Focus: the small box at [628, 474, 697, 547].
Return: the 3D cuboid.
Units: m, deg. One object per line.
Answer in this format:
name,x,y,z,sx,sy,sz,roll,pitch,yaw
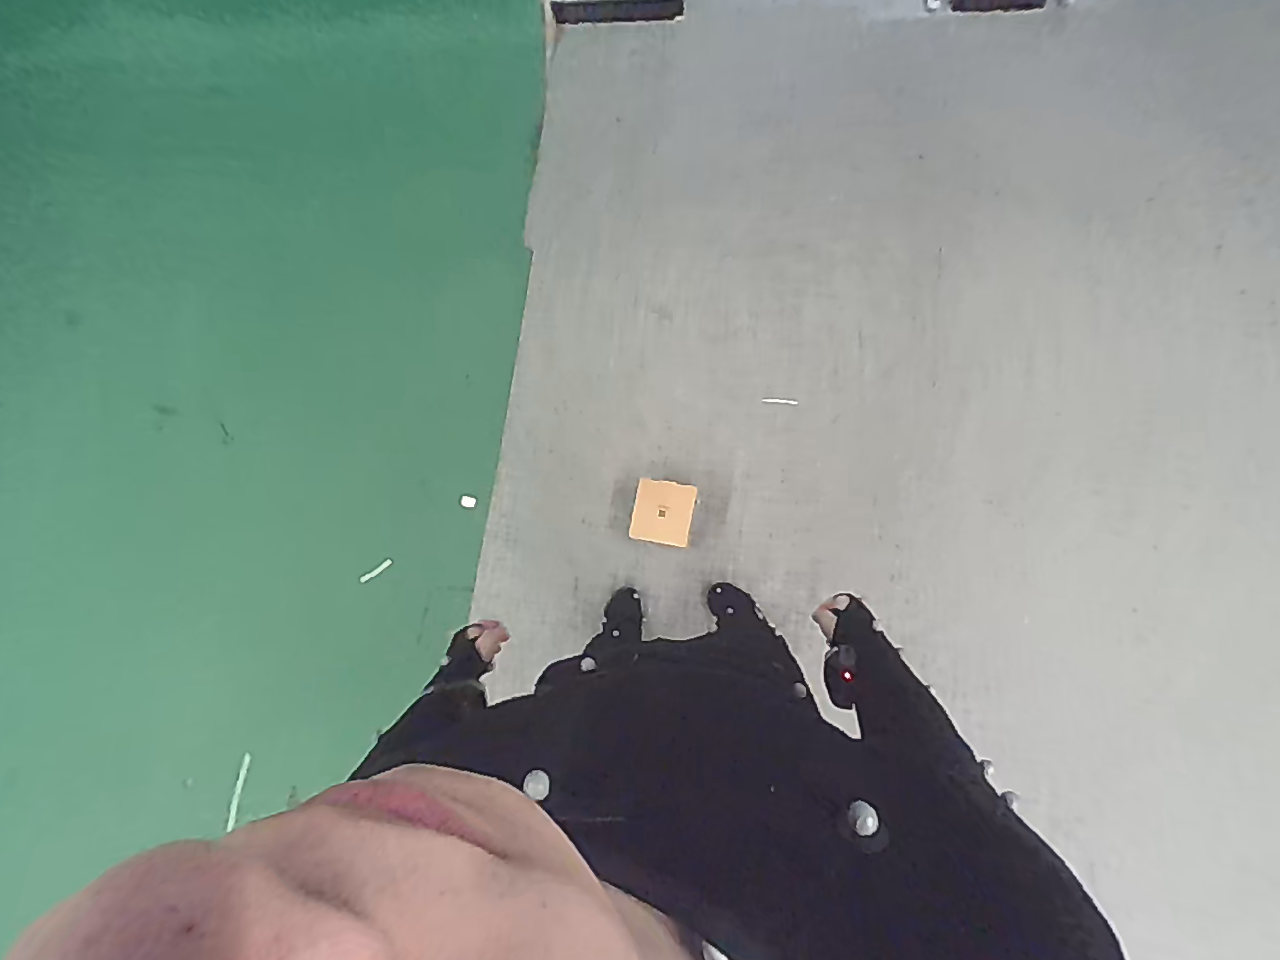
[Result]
small box,0.072,0.096,1.581,0.168,0.176,0.179,10,80,9
